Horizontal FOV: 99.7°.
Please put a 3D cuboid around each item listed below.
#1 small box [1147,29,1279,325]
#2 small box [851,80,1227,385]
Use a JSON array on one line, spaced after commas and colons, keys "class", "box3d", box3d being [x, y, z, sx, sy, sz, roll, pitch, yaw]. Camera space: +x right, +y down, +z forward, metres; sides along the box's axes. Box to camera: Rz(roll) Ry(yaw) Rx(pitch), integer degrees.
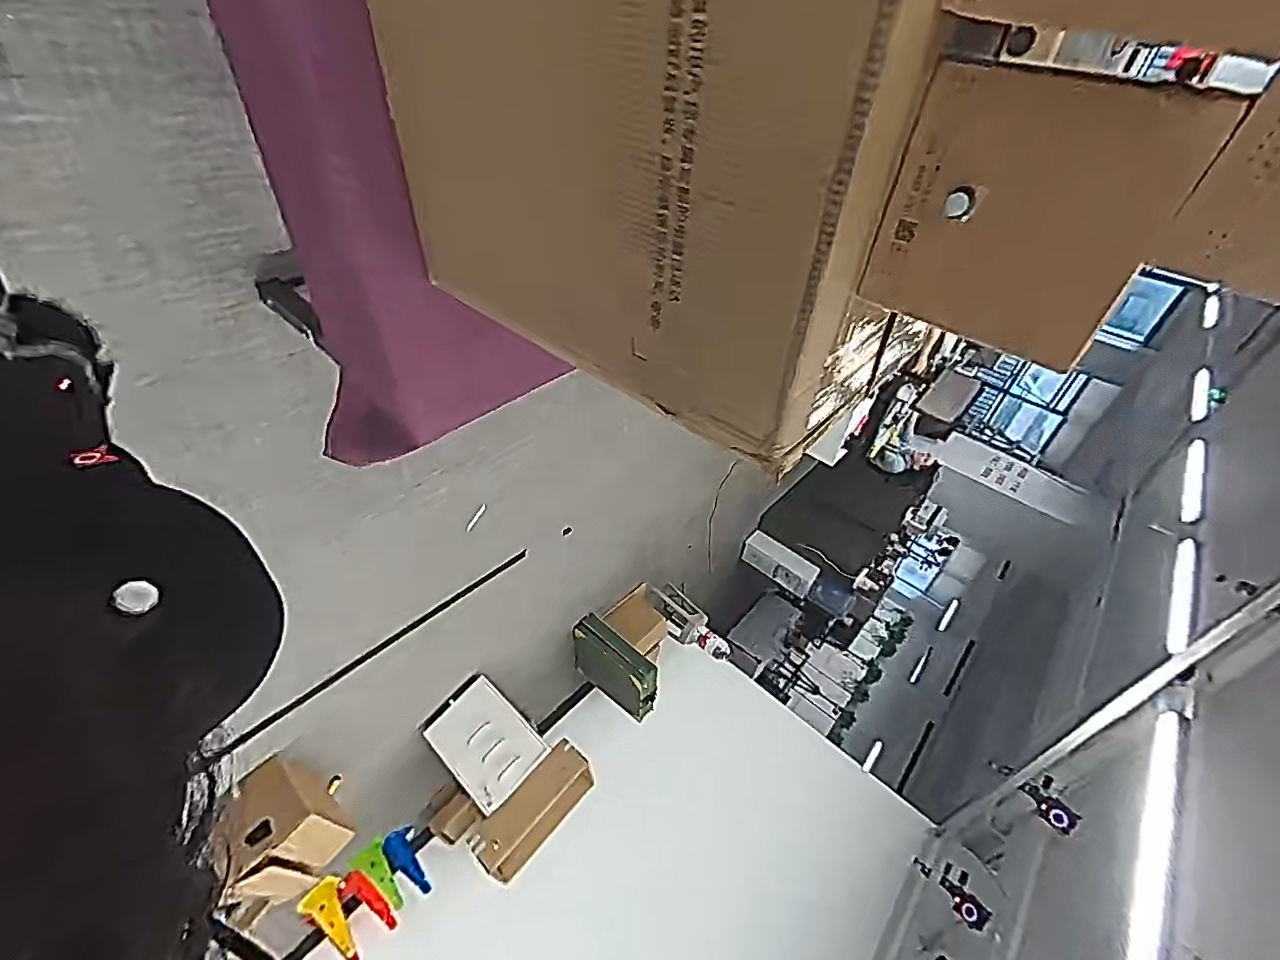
[{"class": "small box", "box3d": [0.427, -0.189, 0.291, 0.168, 0.176, 0.179, -40, 150, -26]}, {"class": "small box", "box3d": [0.303, -0.206, 0.431, 0.179, 0.176, 0.168, -32, 144, -36]}]
